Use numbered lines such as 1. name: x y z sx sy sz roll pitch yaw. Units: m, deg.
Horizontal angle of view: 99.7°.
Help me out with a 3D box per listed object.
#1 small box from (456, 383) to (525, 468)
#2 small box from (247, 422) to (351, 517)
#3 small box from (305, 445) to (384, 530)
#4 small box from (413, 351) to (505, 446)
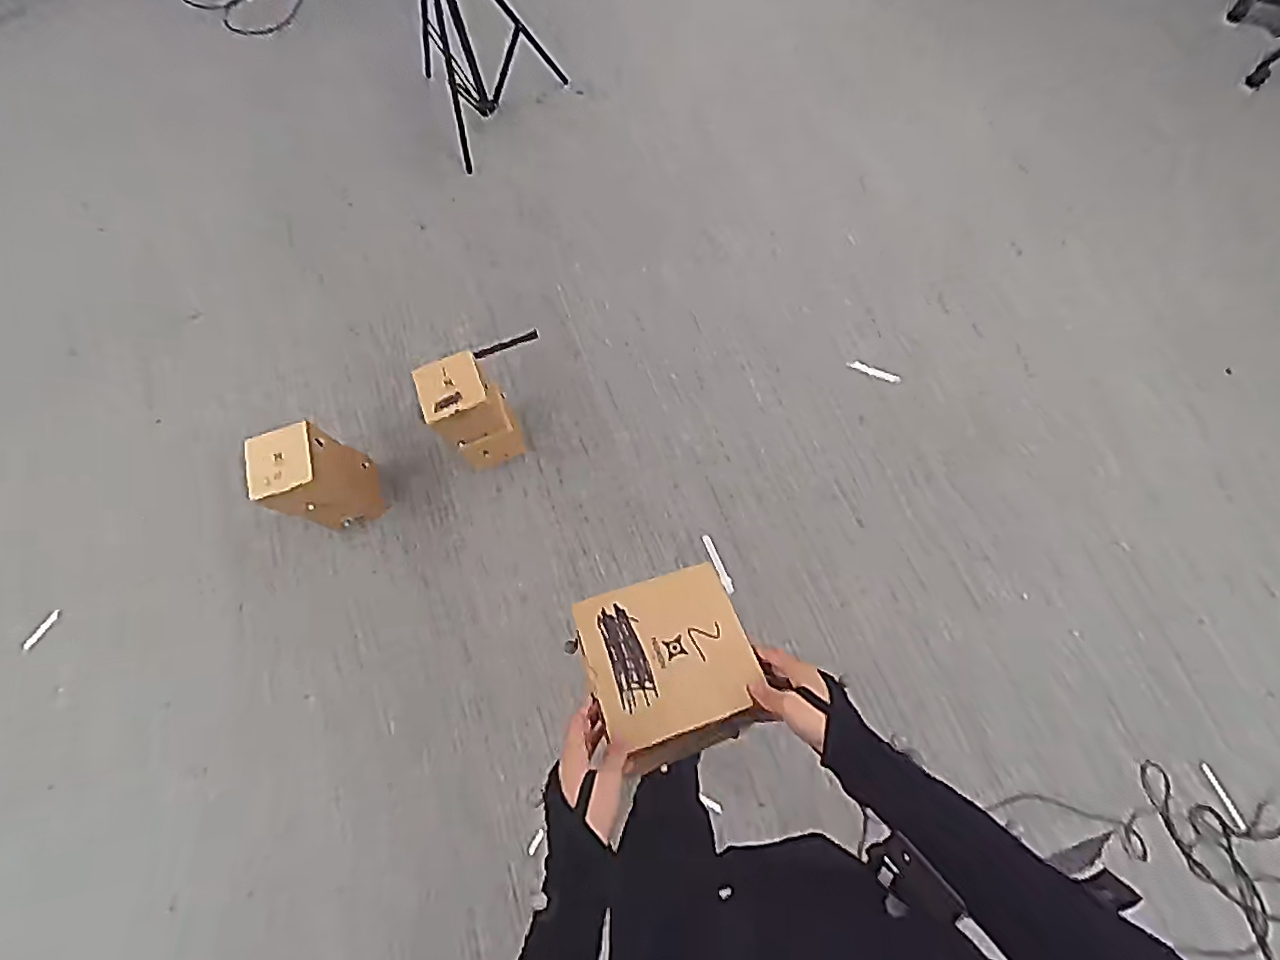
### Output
1. small box: -0.463 -0.154 1.626 0.168 0.176 0.179 -23 69 -4
2. small box: -0.899 -0.024 1.434 0.168 0.176 0.179 -19 71 -2
3. small box: -0.881 0.026 1.590 0.168 0.176 0.179 -18 70 -2
4. small box: -0.487 -0.212 1.474 0.168 0.176 0.179 -23 69 -4
